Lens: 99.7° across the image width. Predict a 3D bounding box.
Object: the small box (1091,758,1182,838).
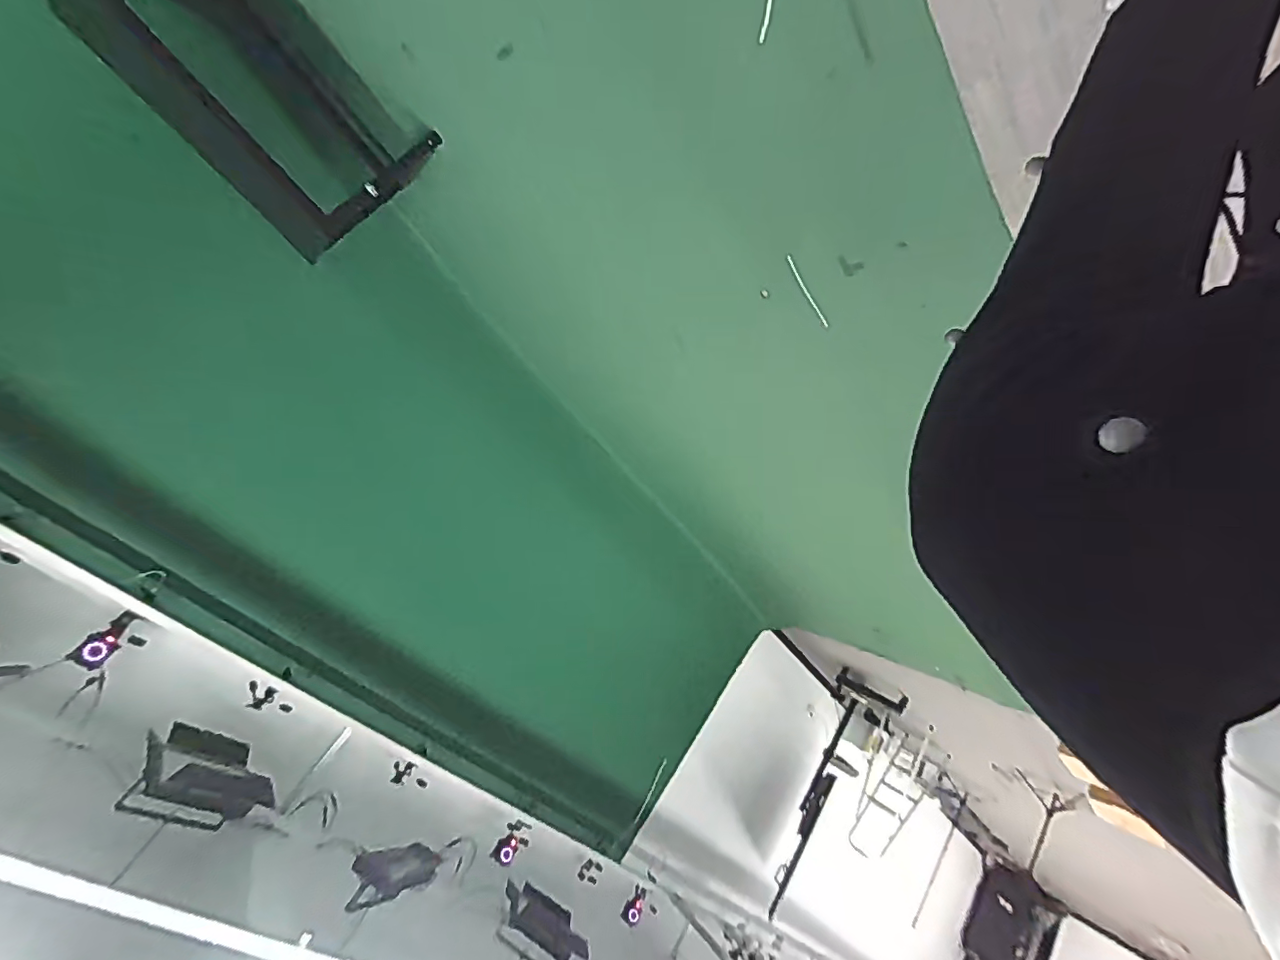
[{"bbox_3d":[1.519,0.936,1.653,0.179,0.176,0.168,50,157,-26],"label":"small box"}]
